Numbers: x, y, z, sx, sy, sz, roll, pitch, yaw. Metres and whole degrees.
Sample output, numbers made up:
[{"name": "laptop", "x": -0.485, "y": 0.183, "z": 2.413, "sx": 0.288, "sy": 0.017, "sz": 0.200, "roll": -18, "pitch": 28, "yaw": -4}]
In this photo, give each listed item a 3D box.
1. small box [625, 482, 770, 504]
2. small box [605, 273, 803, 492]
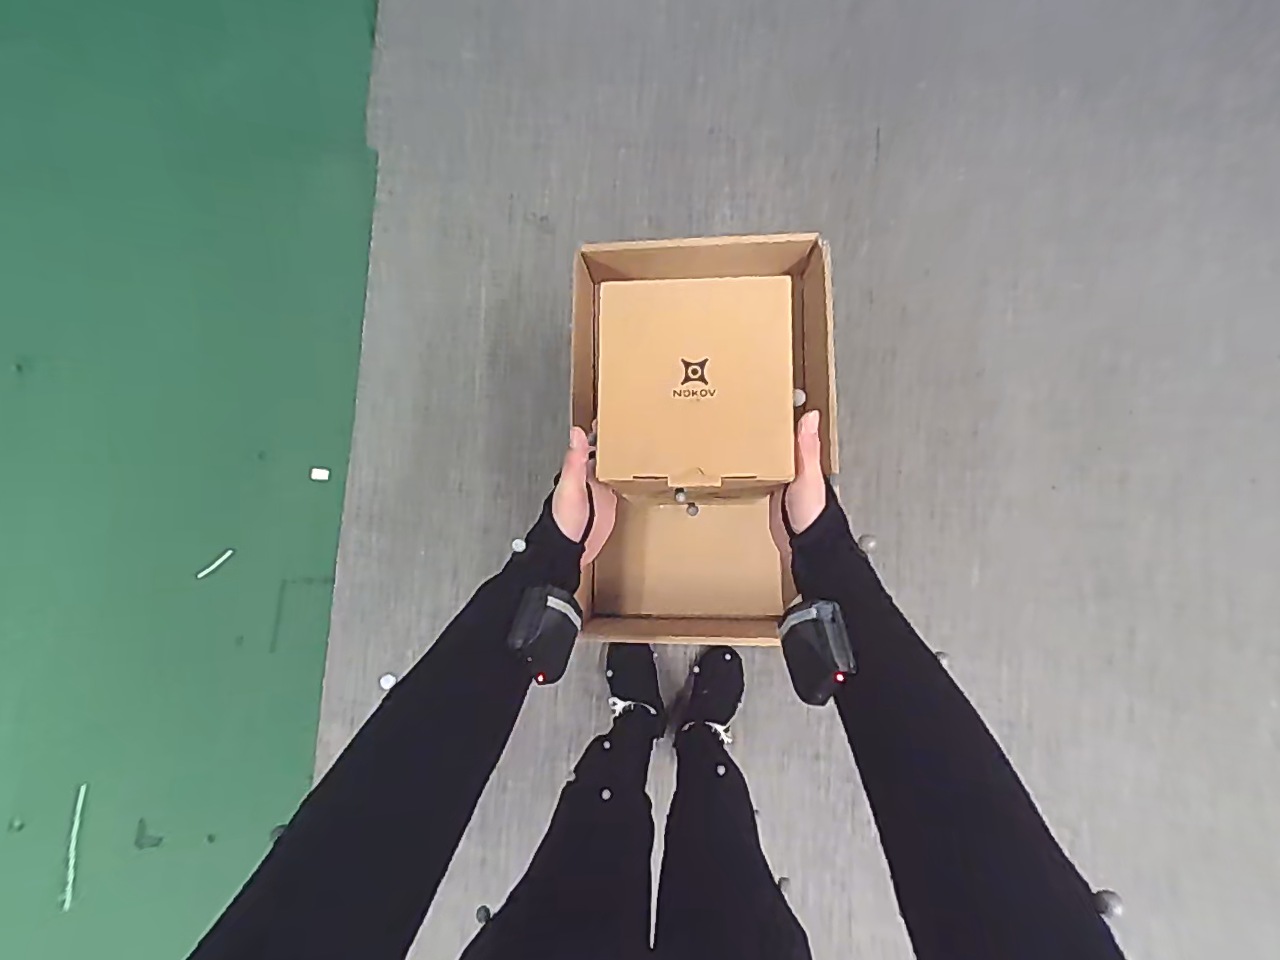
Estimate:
[{"name": "small box", "x": 0.072, "y": -0.063, "z": 0.692, "sx": 0.168, "sy": 0.176, "sz": 0.179, "roll": 0, "pitch": 85, "yaw": 5}, {"name": "small box", "x": 0.057, "y": -0.082, "z": 0.531, "sx": 0.168, "sy": 0.176, "sz": 0.179, "roll": 0, "pitch": 85, "yaw": 4}]
